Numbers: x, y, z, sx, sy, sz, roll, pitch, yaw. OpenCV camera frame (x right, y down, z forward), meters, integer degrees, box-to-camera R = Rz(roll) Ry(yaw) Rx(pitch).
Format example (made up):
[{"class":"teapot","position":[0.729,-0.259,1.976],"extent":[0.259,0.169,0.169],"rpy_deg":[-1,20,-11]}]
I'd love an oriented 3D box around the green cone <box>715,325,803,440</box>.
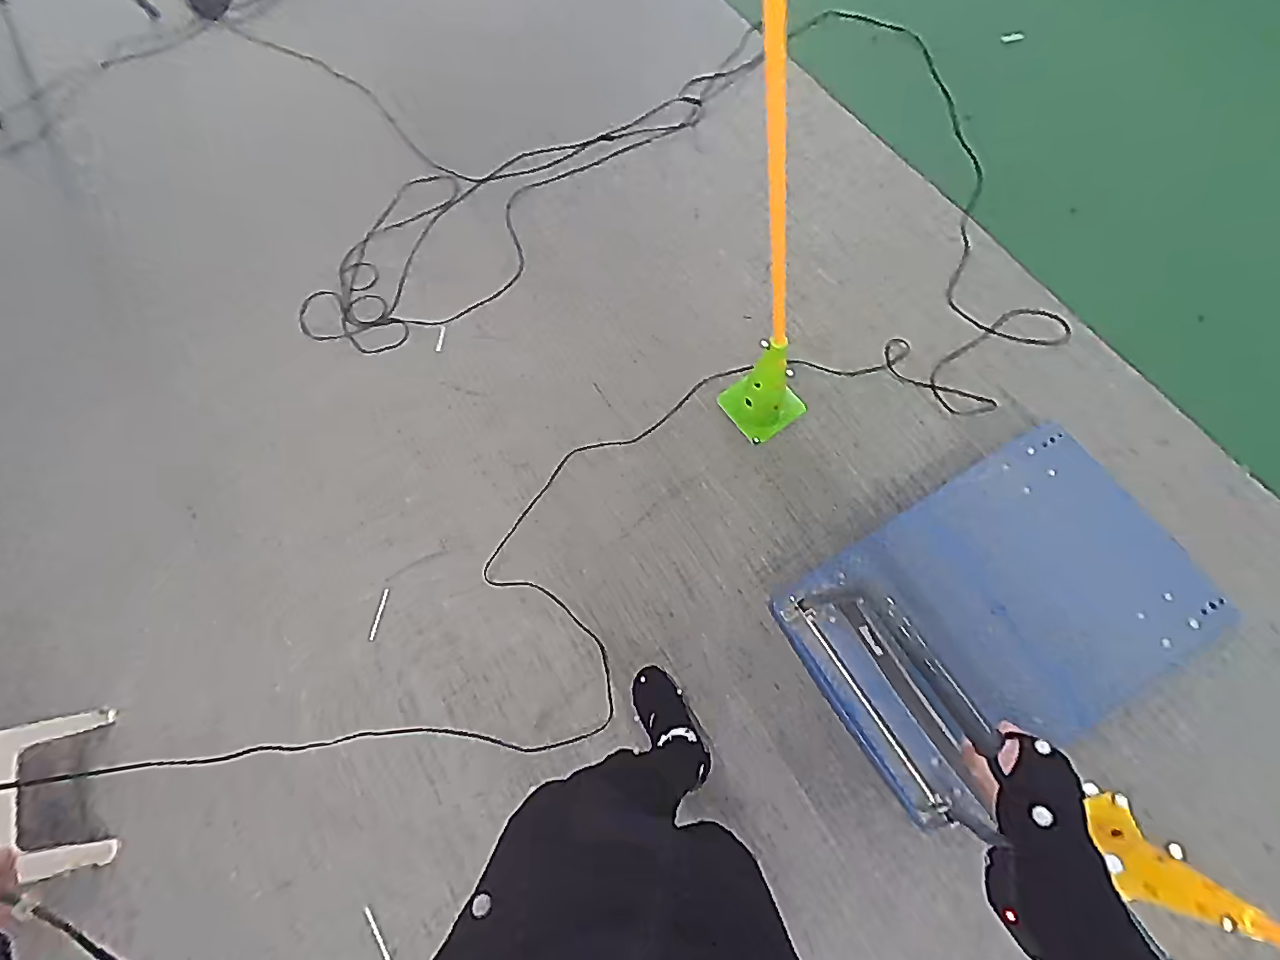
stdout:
[{"class":"green cone","position":[0.338,-0.292,1.449],"extent":[0.200,0.368,0.202],"rpy_deg":[-36,72,-7]}]
